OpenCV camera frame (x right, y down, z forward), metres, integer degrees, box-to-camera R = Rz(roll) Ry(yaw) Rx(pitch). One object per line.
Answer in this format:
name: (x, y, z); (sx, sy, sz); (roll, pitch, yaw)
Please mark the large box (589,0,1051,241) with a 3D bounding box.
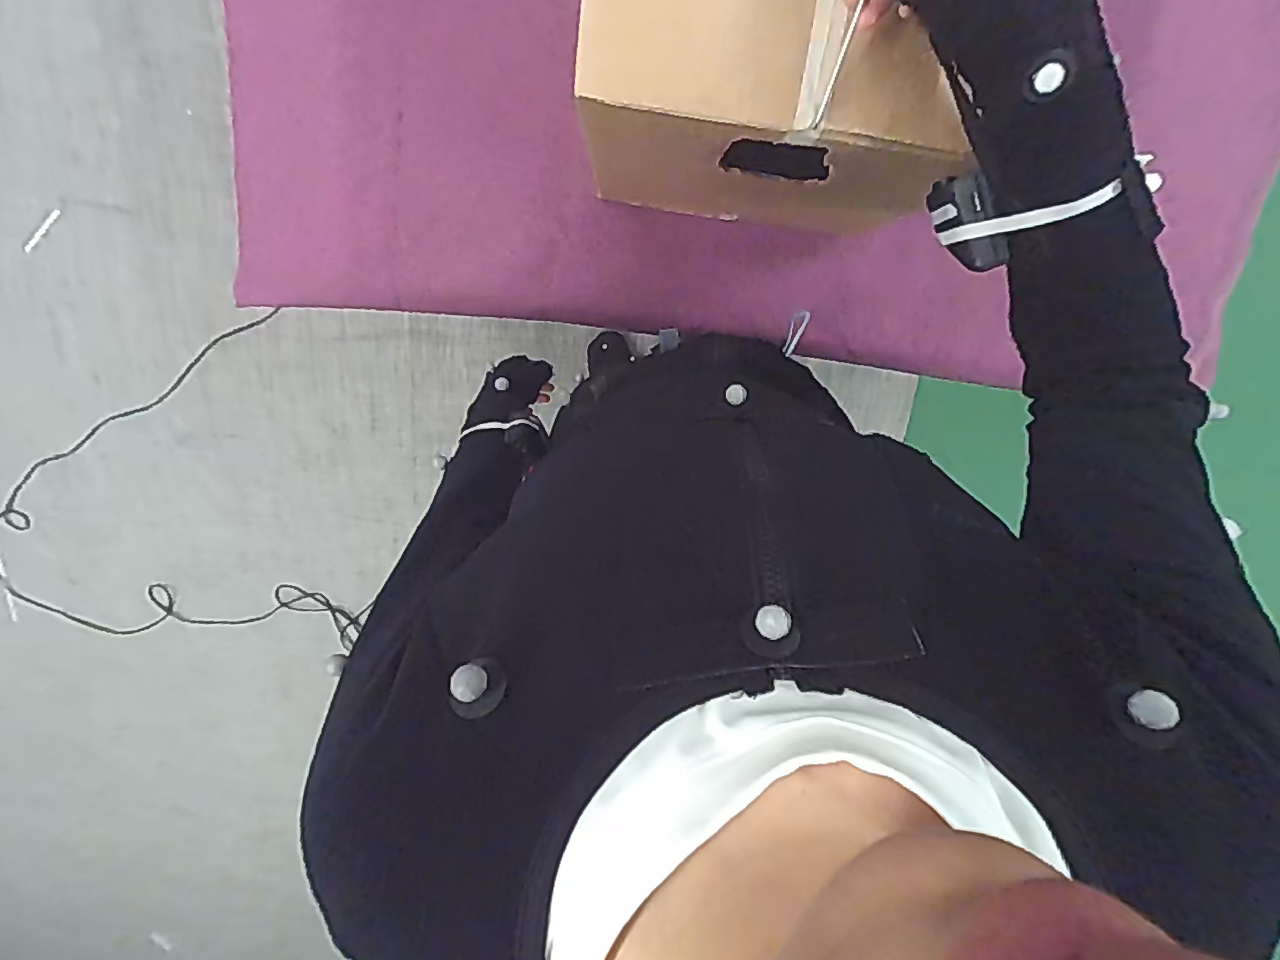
large box: (0.134, -0.467, 0.477); (0.320, 0.320, 0.408); (7, 106, -3)
